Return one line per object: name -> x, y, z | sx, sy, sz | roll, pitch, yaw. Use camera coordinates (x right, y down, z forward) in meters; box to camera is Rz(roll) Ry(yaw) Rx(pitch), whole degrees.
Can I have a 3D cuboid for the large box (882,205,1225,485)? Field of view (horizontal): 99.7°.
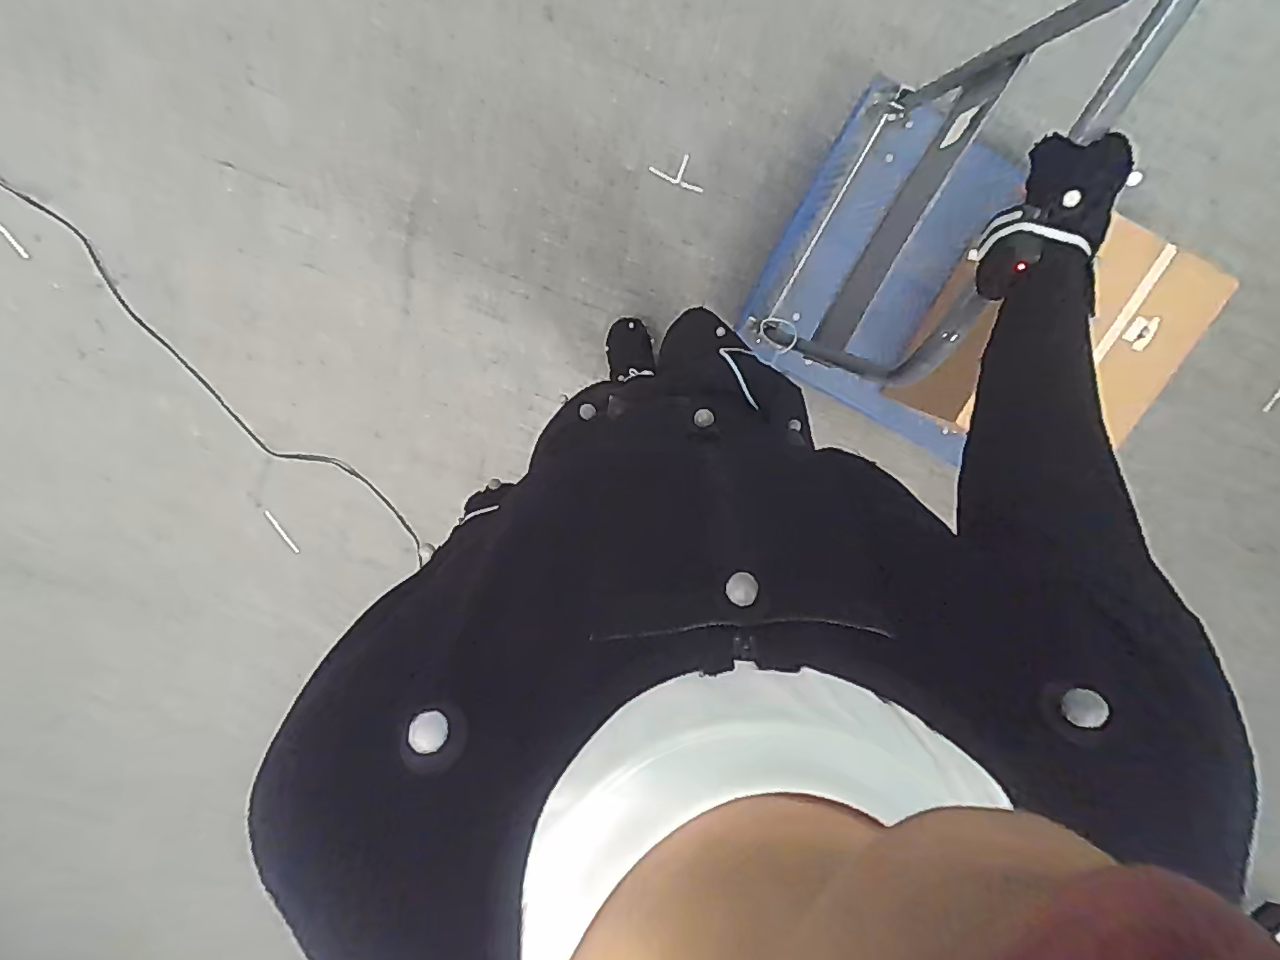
large box -> 0.778, -0.260, 1.092 | 0.320, 0.320, 0.408 | 23, 106, -9
